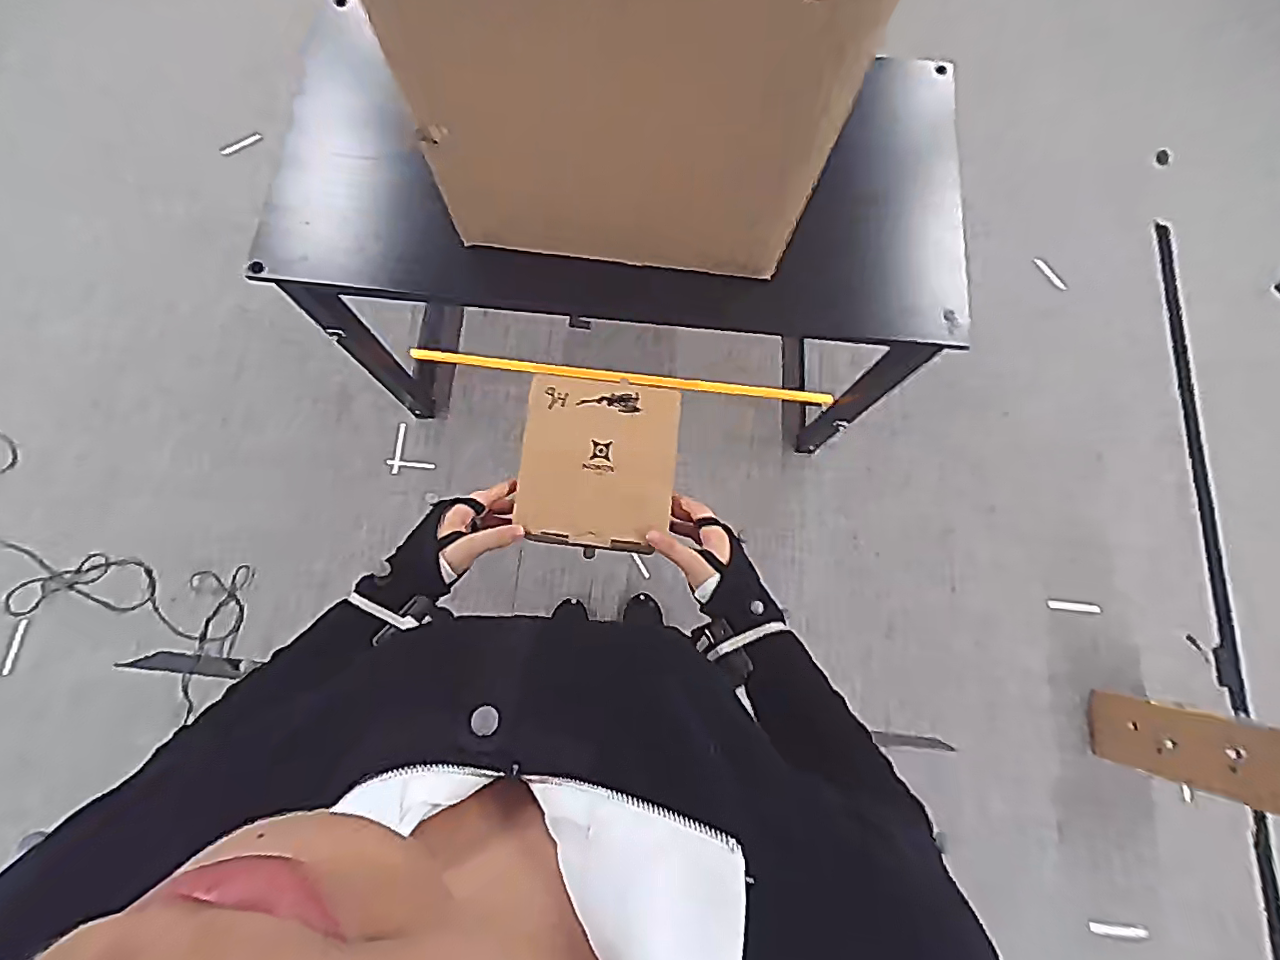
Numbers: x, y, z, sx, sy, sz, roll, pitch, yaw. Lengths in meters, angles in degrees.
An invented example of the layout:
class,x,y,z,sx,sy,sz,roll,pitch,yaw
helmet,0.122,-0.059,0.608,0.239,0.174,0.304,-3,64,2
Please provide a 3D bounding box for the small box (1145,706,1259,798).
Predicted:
class,x,y,z,sx,sy,sz,roll,pitch,yaw
small box,1.331,0.633,1.249,0.179,0.176,0.168,9,77,0

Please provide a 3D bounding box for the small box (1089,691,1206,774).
class,x,y,z,sx,sy,sz,roll,pitch,yaw
small box,1.319,0.662,1.411,0.168,0.176,0.179,10,78,0

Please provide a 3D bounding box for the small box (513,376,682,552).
class,x,y,z,sx,sy,sz,roll,pitch,yaw
small box,-0.048,-0.007,0.655,0.168,0.176,0.179,7,81,-4

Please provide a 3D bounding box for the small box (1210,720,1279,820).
class,x,y,z,sx,sy,sz,roll,pitch,yaw
small box,1.324,0.596,1.090,0.179,0.176,0.168,9,76,0
